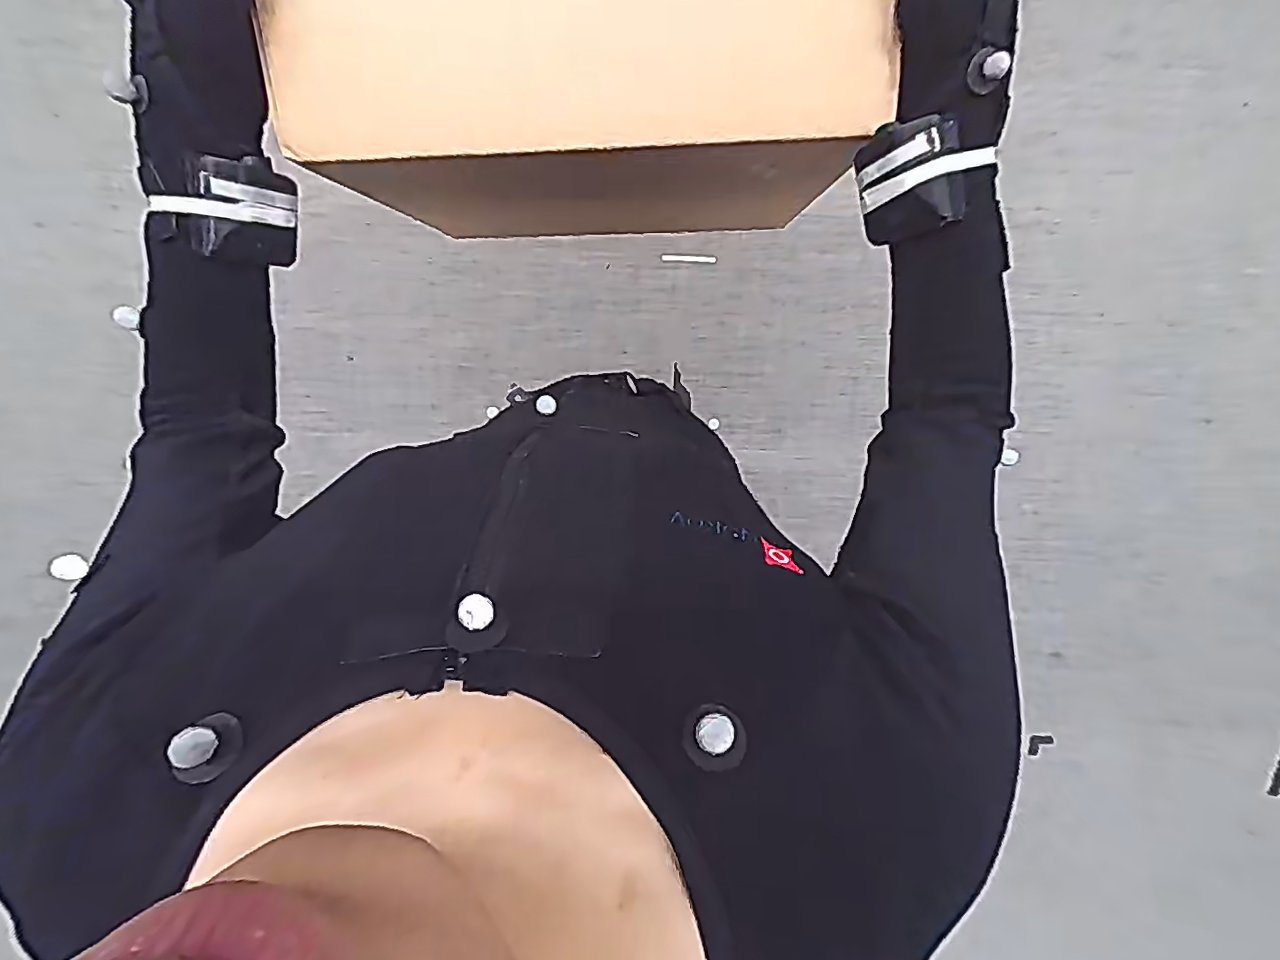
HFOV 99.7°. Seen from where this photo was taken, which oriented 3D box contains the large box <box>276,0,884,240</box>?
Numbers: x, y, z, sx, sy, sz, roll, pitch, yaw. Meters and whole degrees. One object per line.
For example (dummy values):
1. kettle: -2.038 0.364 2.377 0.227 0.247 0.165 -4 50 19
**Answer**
1. large box: -0.042 -0.416 0.479 0.408 0.320 0.320 -2 105 2
